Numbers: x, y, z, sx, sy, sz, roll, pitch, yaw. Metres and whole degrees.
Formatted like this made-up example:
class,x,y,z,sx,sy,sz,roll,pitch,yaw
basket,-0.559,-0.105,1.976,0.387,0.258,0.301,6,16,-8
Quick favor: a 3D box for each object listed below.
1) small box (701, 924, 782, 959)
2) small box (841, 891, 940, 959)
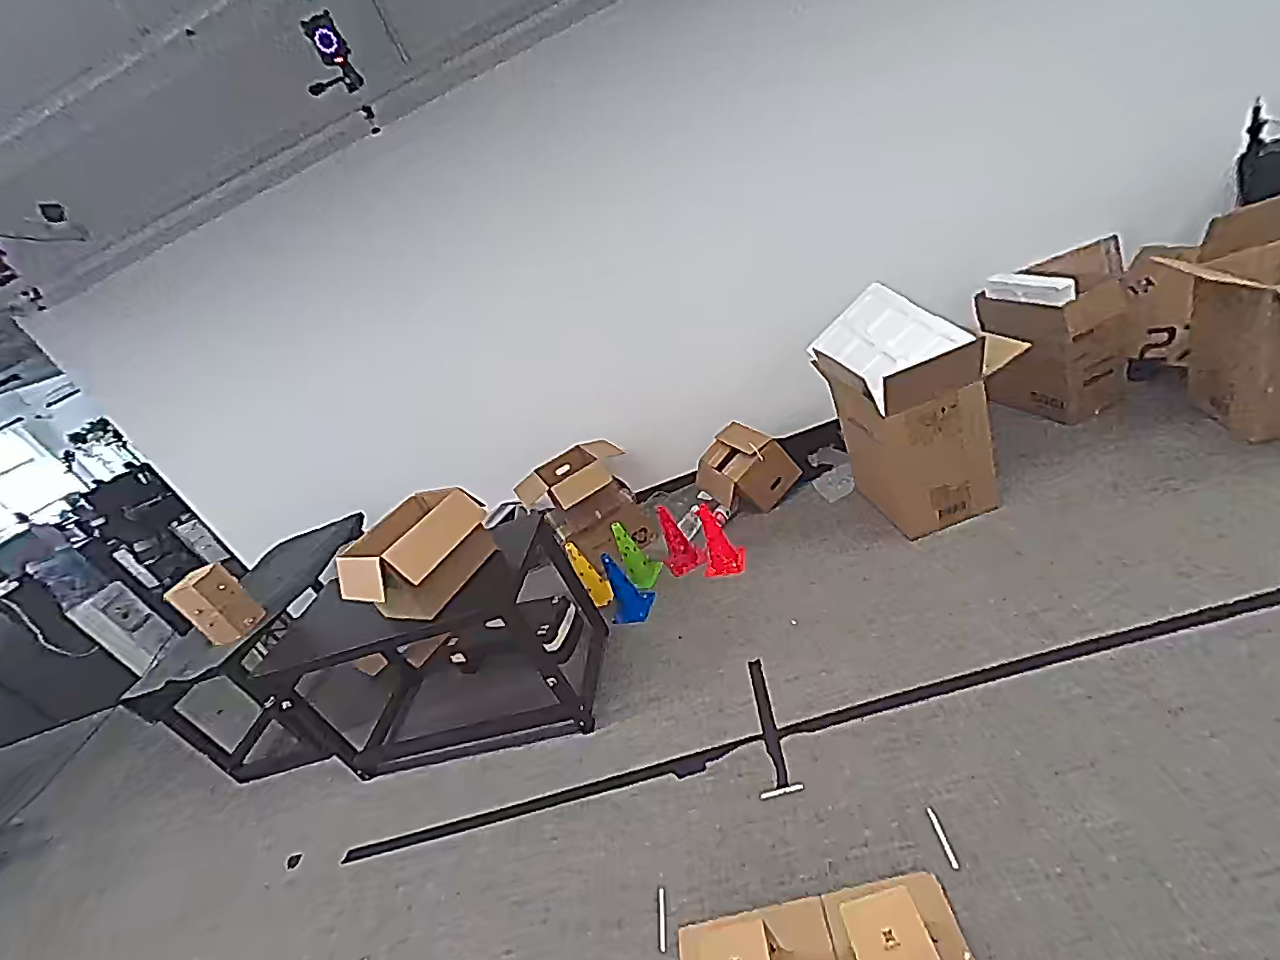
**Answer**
class,x,y,z,sx,sy,sz,roll,pitch,yaw
small box,0.253,1.185,1.250,0.168,0.176,0.179,-22,25,9
small box,0.572,1.069,1.197,0.168,0.176,0.179,-23,25,6
